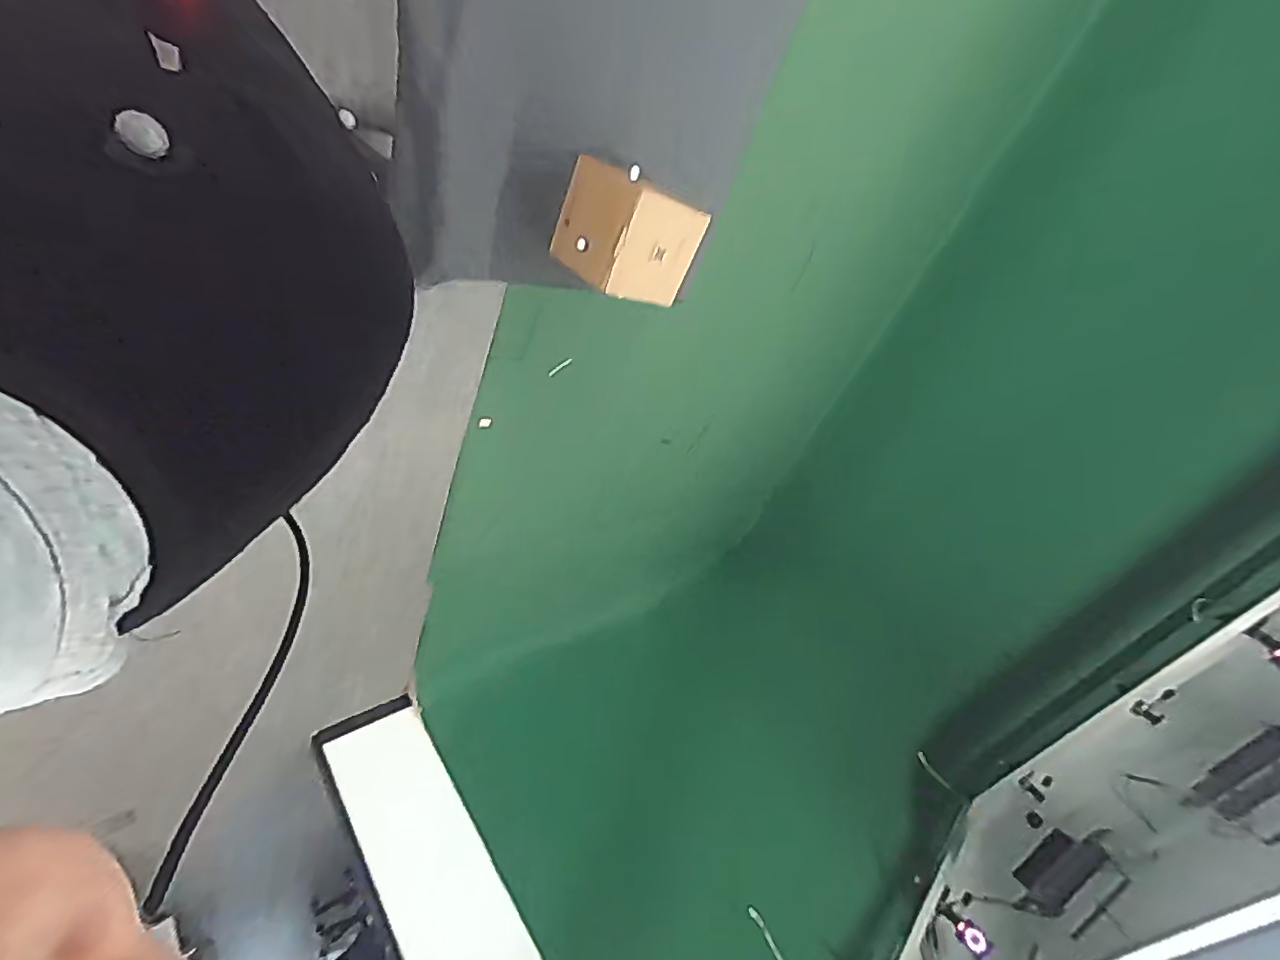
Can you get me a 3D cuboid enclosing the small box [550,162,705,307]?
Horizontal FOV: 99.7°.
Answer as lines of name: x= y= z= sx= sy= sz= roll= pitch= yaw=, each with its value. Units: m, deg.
small box: x=-0.027 y=-0.423 z=0.937 sx=0.179 sy=0.176 sz=0.168 roll=-11 pitch=137 yaw=-47
